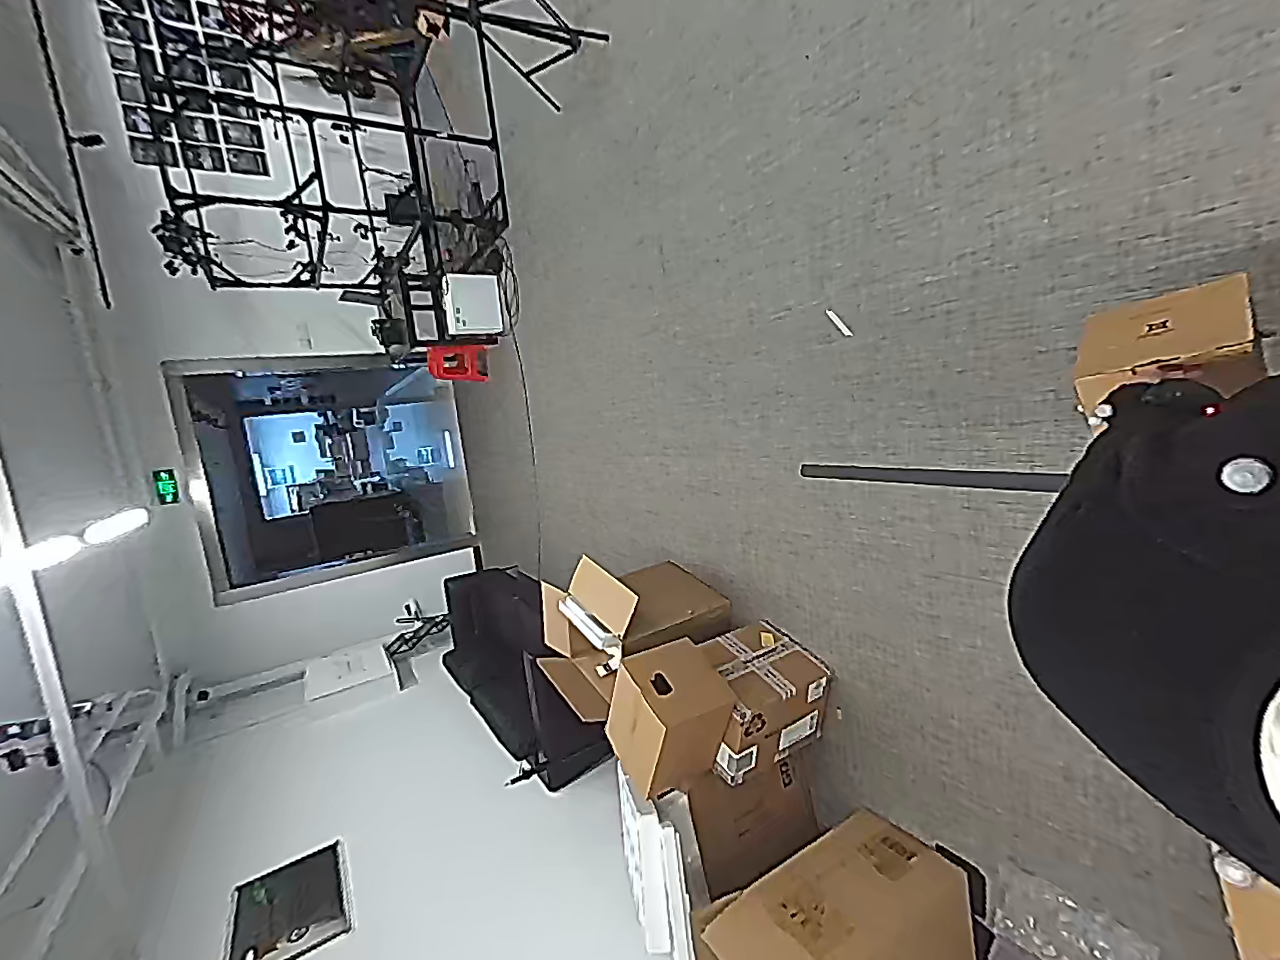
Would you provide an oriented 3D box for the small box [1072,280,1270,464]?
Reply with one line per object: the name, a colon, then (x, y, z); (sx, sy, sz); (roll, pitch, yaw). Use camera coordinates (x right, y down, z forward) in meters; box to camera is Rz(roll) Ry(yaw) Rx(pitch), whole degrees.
small box: (0.730, -0.135, 0.746); (0.168, 0.179, 0.176); (-10, 122, 50)
